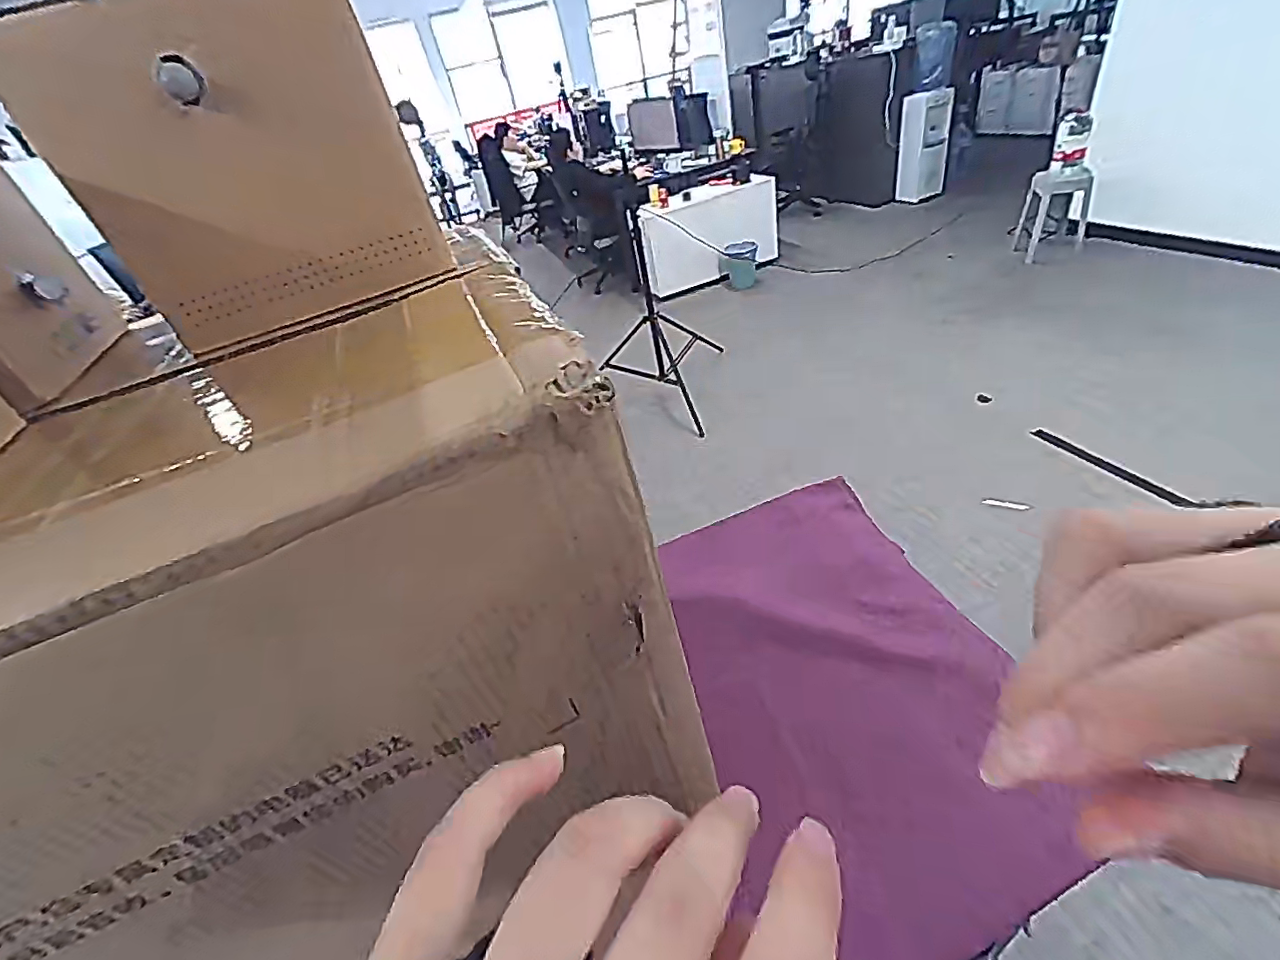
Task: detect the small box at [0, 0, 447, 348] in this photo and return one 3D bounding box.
[{"bbox_3d":[-0.246,-0.214,0.365,0.179,0.176,0.168,-24,38,-11],"label":"small box"}]
